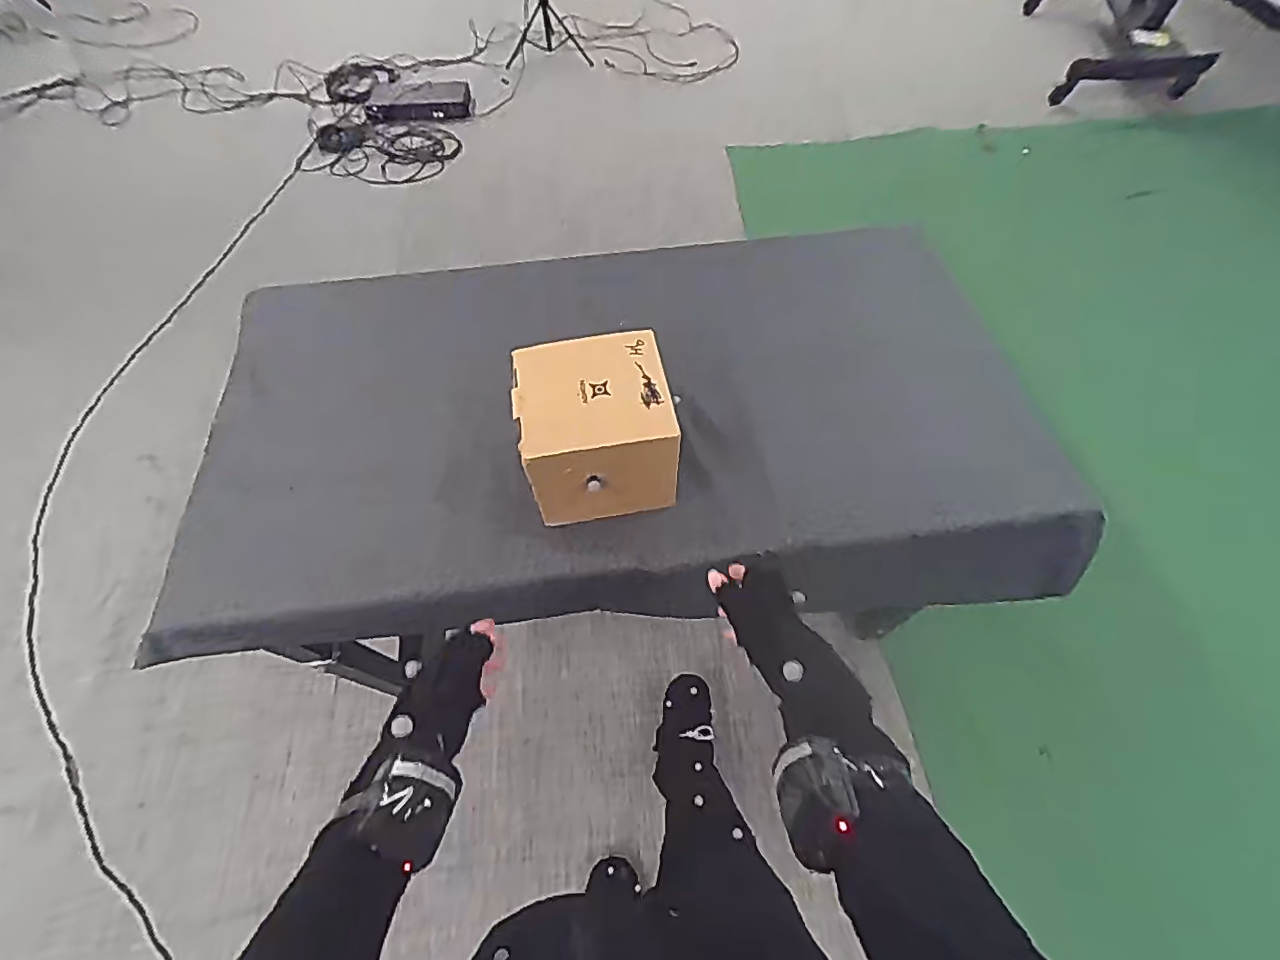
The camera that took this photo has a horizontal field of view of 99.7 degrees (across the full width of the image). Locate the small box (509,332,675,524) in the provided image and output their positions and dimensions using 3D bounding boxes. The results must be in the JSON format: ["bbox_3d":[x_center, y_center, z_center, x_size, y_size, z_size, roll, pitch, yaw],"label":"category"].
[{"bbox_3d":[-0.059,-0.060,0.700,0.179,0.176,0.168,-12,58,-6],"label":"small box"}]
